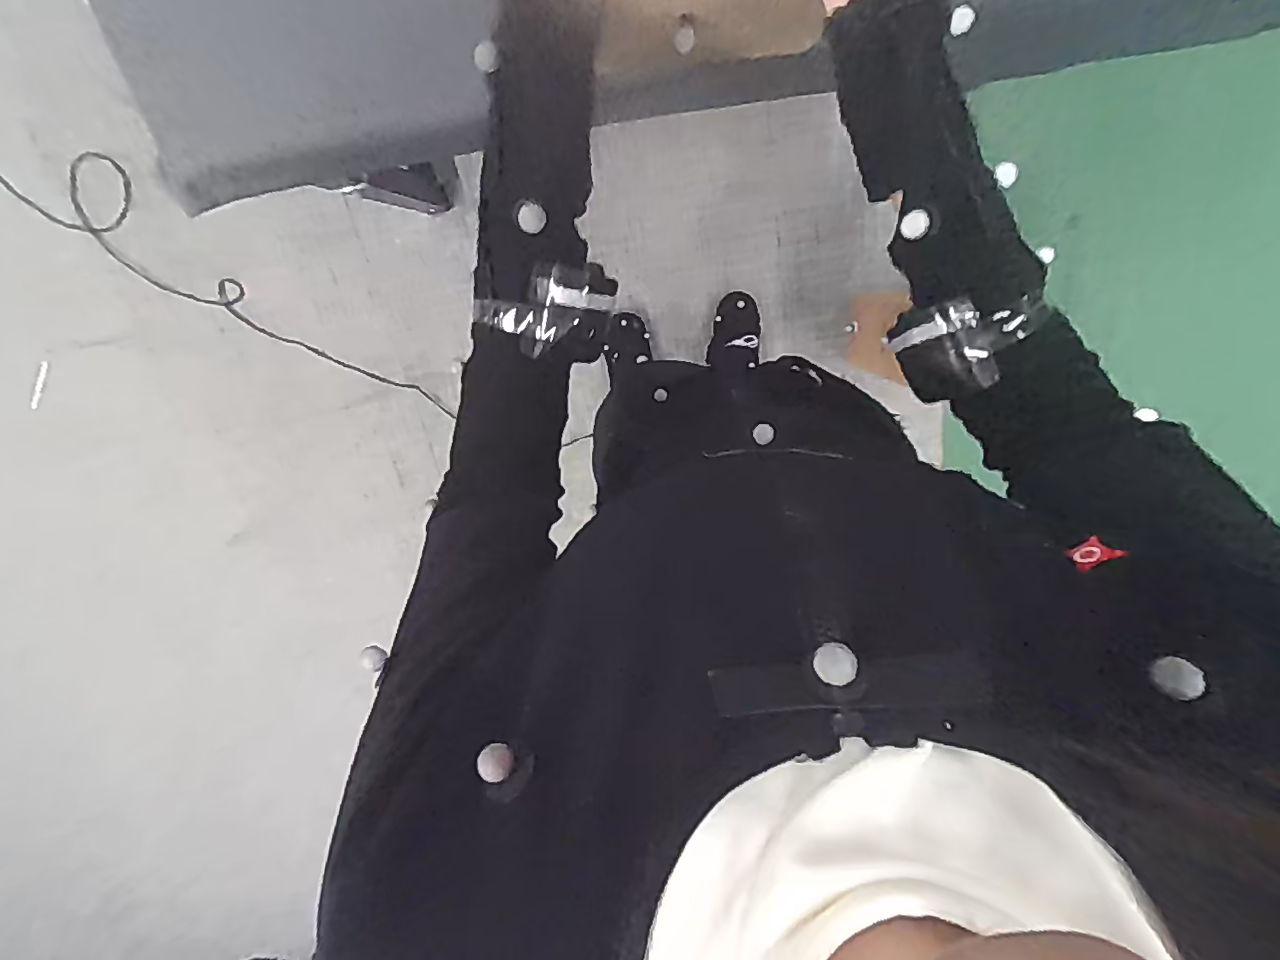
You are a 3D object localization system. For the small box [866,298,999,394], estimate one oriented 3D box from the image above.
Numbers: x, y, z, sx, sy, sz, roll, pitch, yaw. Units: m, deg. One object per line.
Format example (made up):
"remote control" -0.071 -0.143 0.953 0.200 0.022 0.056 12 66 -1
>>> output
"small box" 0.595 -0.282 1.120 0.179 0.176 0.168 -6 111 1

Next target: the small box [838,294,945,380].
"small box" 0.584 -0.342 1.273 0.179 0.176 0.168 -7 110 2
